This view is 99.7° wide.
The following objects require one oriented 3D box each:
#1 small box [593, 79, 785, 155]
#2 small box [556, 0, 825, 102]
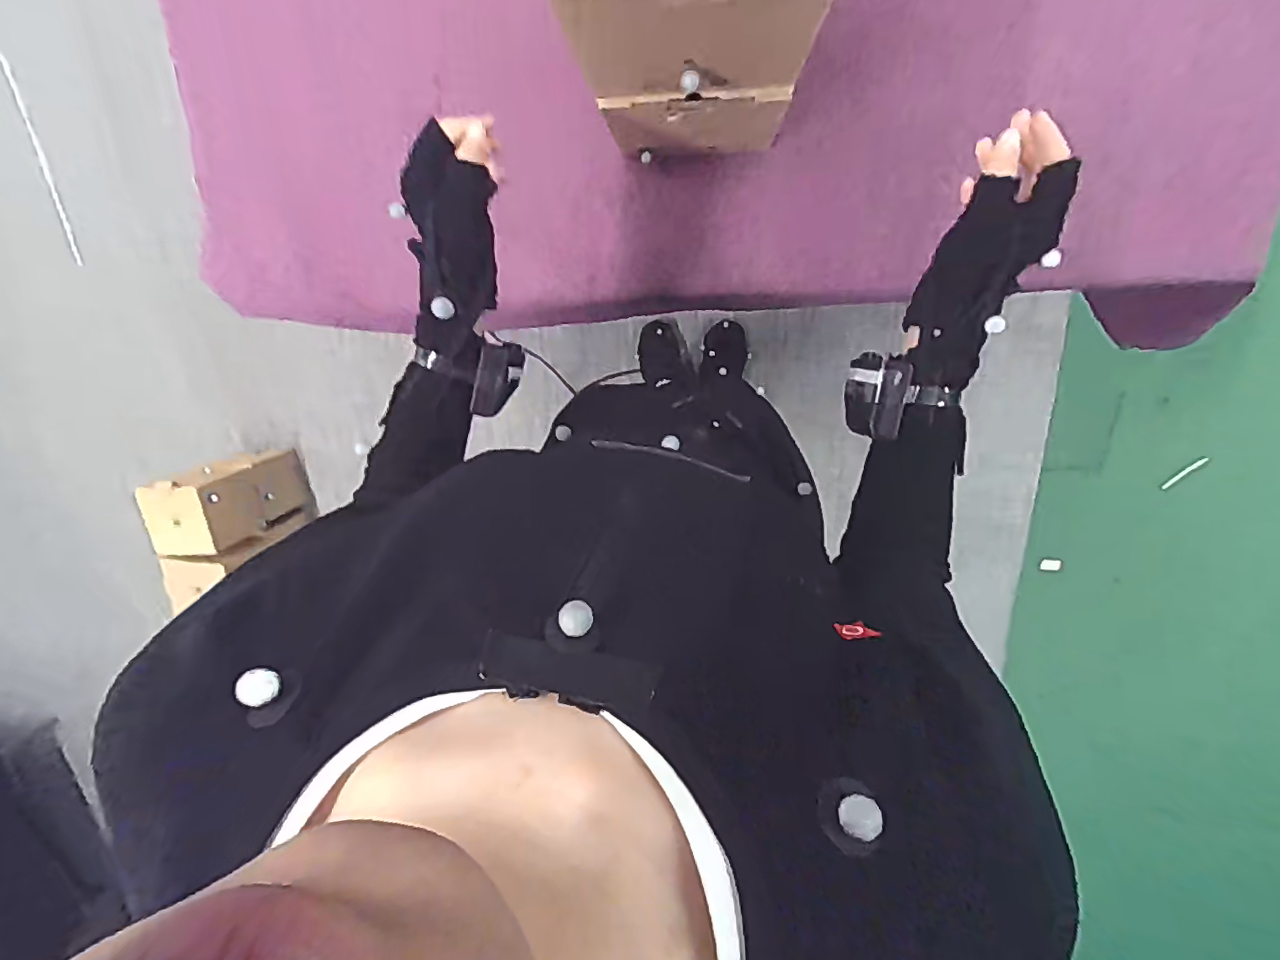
[{"bbox_3d":[0.048,-0.422,0.510,0.168,0.176,0.179,0,107,5],"label":"small box"},{"bbox_3d":[0.031,-0.380,0.352,0.168,0.176,0.179,1,108,6],"label":"small box"}]
